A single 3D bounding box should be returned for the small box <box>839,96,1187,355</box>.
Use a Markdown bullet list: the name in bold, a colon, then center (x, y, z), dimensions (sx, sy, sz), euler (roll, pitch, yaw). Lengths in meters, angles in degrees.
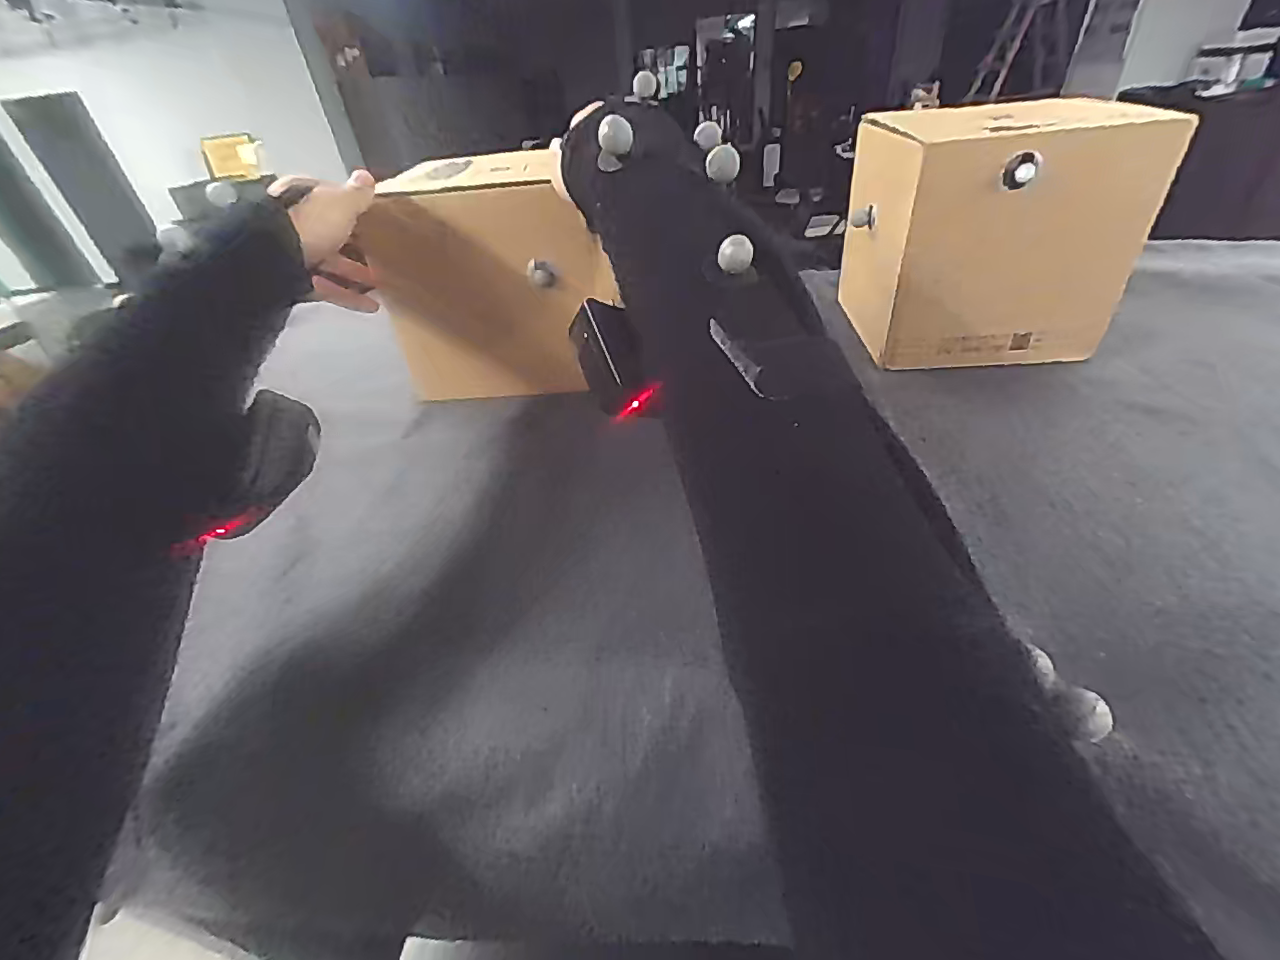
- **small box**: center (0.279, -0.219, 0.464), dimensions (0.168, 0.176, 0.179), euler (-2, 36, 7)
